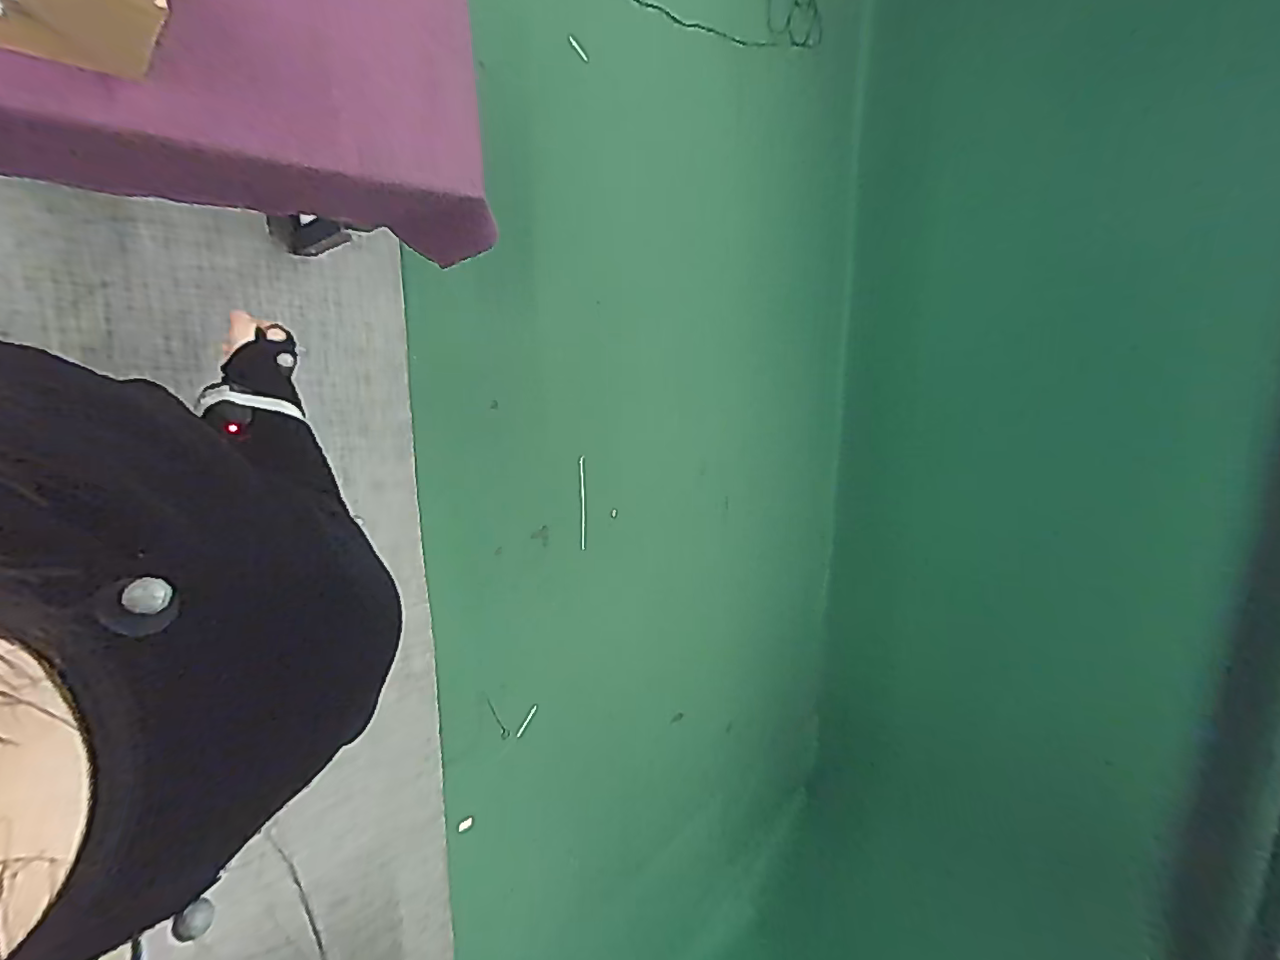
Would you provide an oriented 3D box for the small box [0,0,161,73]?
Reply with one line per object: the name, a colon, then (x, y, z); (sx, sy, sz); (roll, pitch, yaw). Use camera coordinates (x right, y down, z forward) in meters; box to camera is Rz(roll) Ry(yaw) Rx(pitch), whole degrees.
small box: (-0.525, -0.469, 0.434); (0.179, 0.176, 0.168); (-17, 110, -45)
